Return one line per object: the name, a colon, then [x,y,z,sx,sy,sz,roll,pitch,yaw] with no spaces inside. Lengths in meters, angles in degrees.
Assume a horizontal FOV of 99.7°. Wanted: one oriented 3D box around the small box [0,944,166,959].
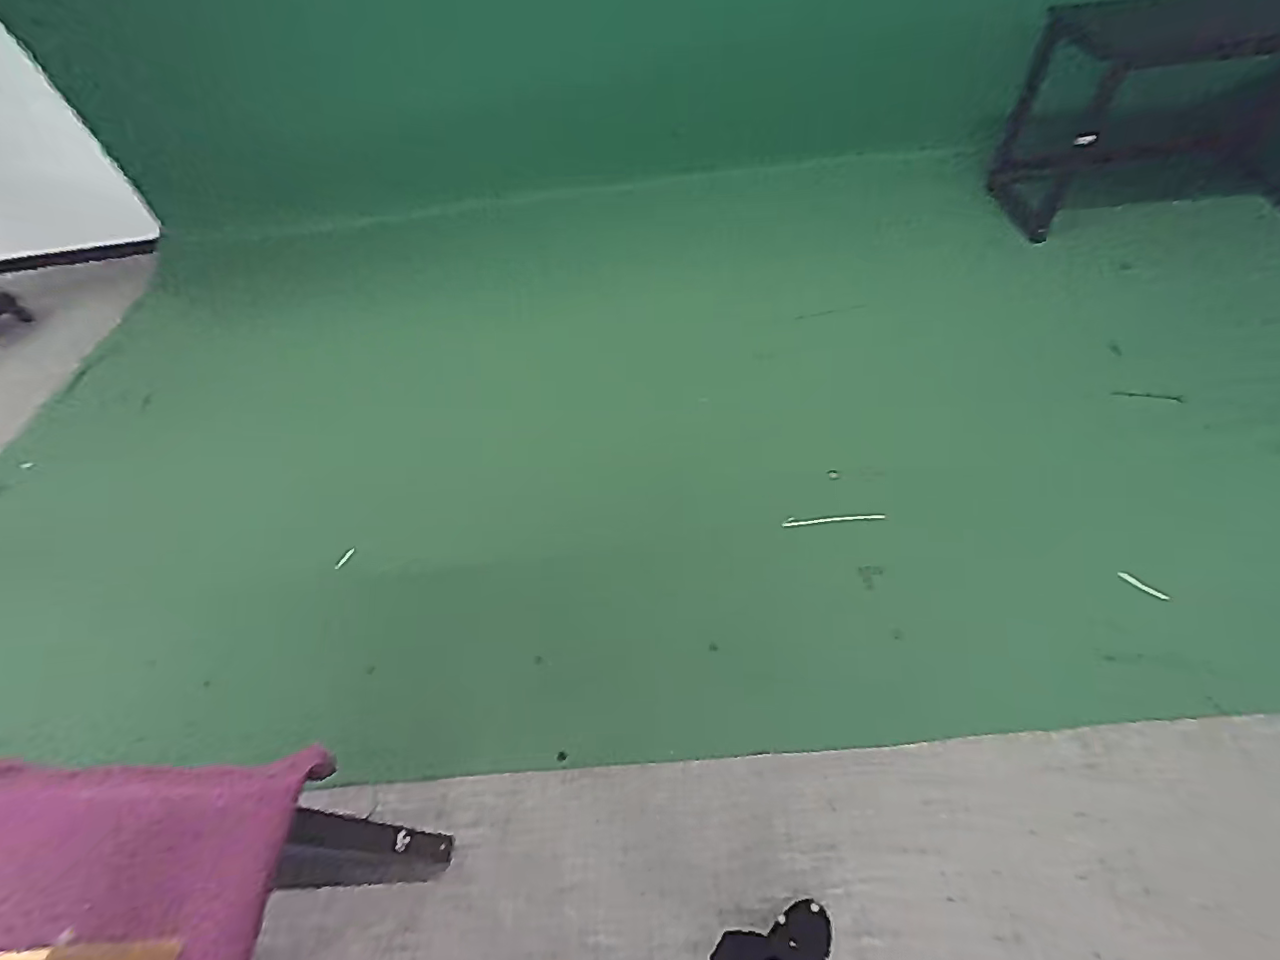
small box: [-0.609,0.562,0.513,0.168,0.176,0.179,-6,53,1]
